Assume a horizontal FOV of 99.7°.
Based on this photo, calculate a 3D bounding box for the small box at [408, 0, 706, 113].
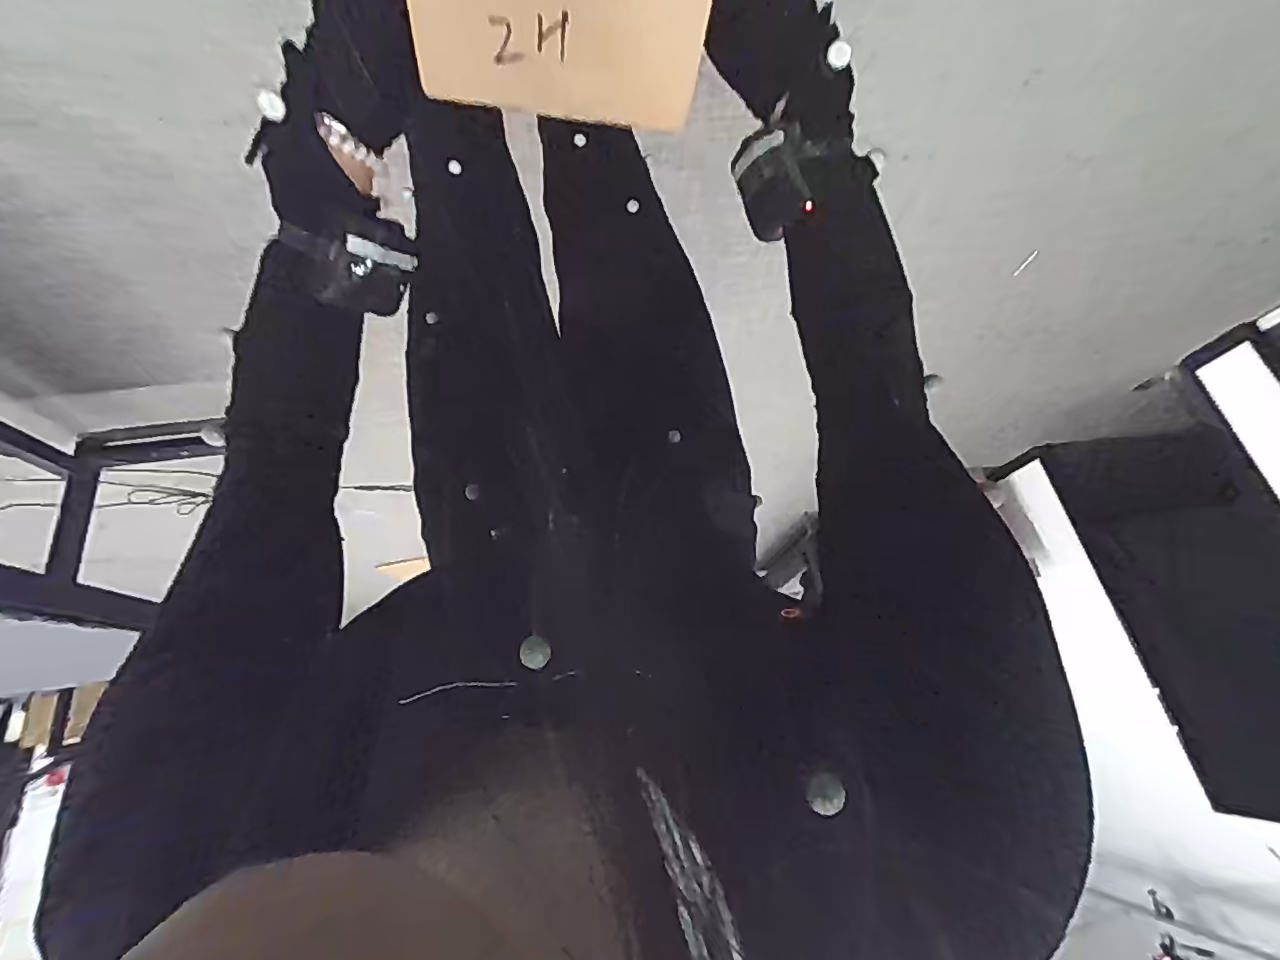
[{"bbox_3d":[-0.042,-0.356,0.307,0.168,0.176,0.179,3,149,-10],"label":"small box"}]
